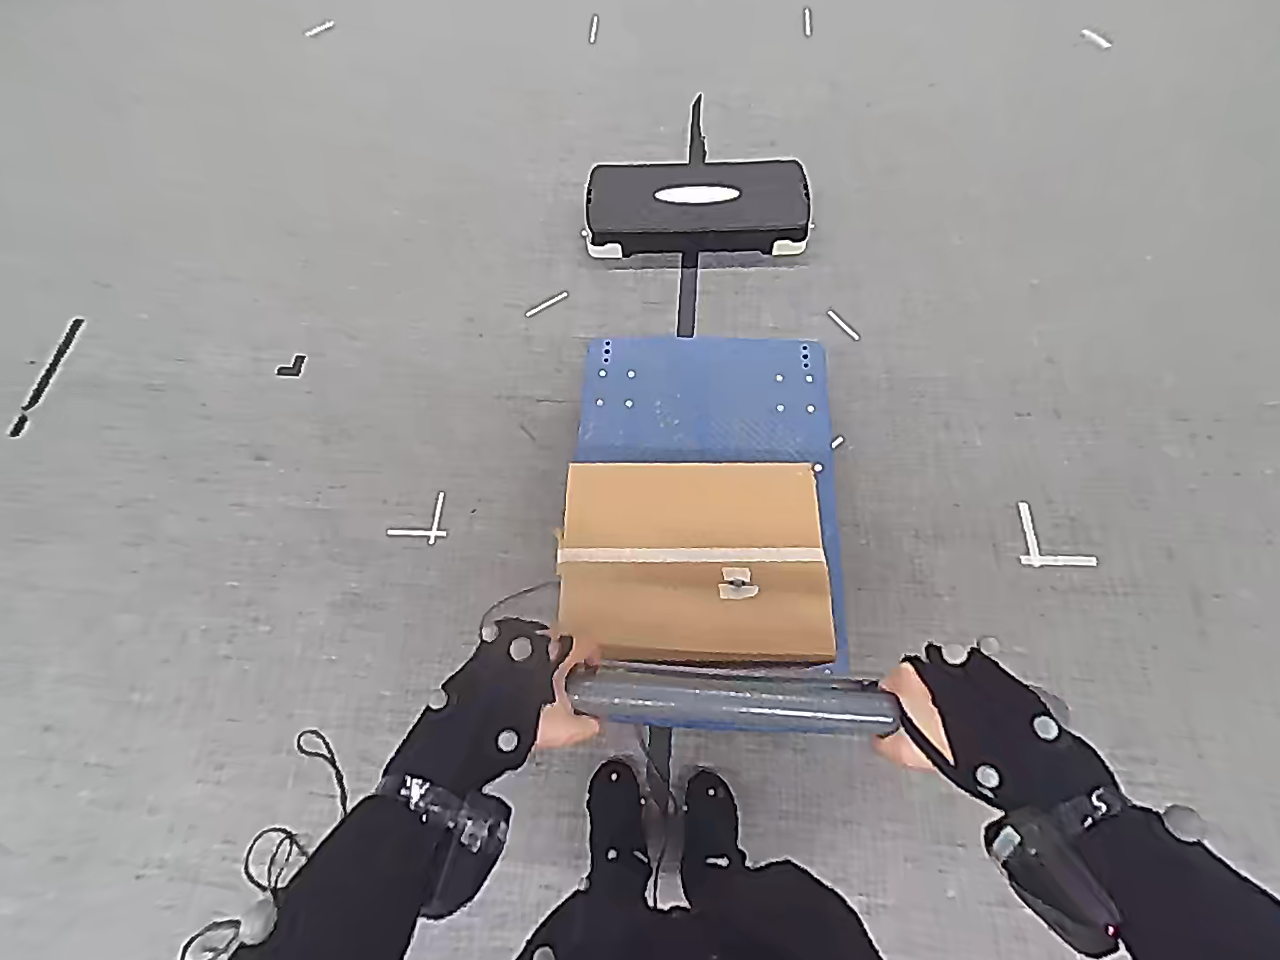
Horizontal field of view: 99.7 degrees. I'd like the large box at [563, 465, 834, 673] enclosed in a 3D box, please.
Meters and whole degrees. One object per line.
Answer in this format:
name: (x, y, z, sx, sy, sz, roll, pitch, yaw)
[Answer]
large box: (0.084, 0.176, 0.977, 0.408, 0.320, 0.320, 0, 68, 1)
